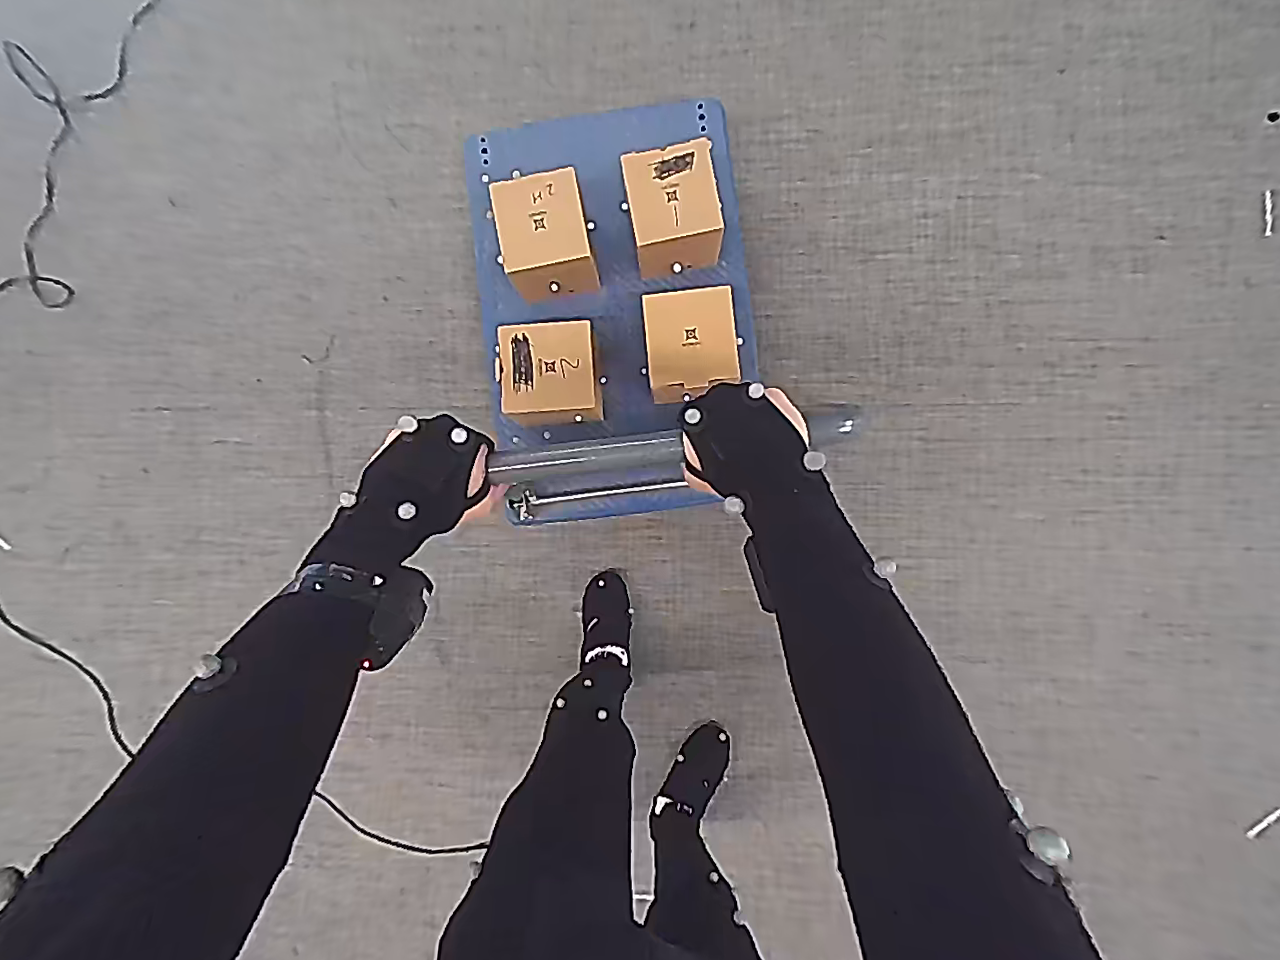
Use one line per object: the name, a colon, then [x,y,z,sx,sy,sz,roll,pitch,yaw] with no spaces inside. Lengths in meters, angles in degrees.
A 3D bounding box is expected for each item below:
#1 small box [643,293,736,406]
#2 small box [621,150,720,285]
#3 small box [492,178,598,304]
small box: [0.094,-0.256,1.093,0.168,0.176,0.179,-6,89,2]
small box: [0.060,-0.525,1.100,0.168,0.176,0.179,-11,89,3]
small box: [-0.187,-0.476,1.111,0.168,0.176,0.179,-11,88,1]
